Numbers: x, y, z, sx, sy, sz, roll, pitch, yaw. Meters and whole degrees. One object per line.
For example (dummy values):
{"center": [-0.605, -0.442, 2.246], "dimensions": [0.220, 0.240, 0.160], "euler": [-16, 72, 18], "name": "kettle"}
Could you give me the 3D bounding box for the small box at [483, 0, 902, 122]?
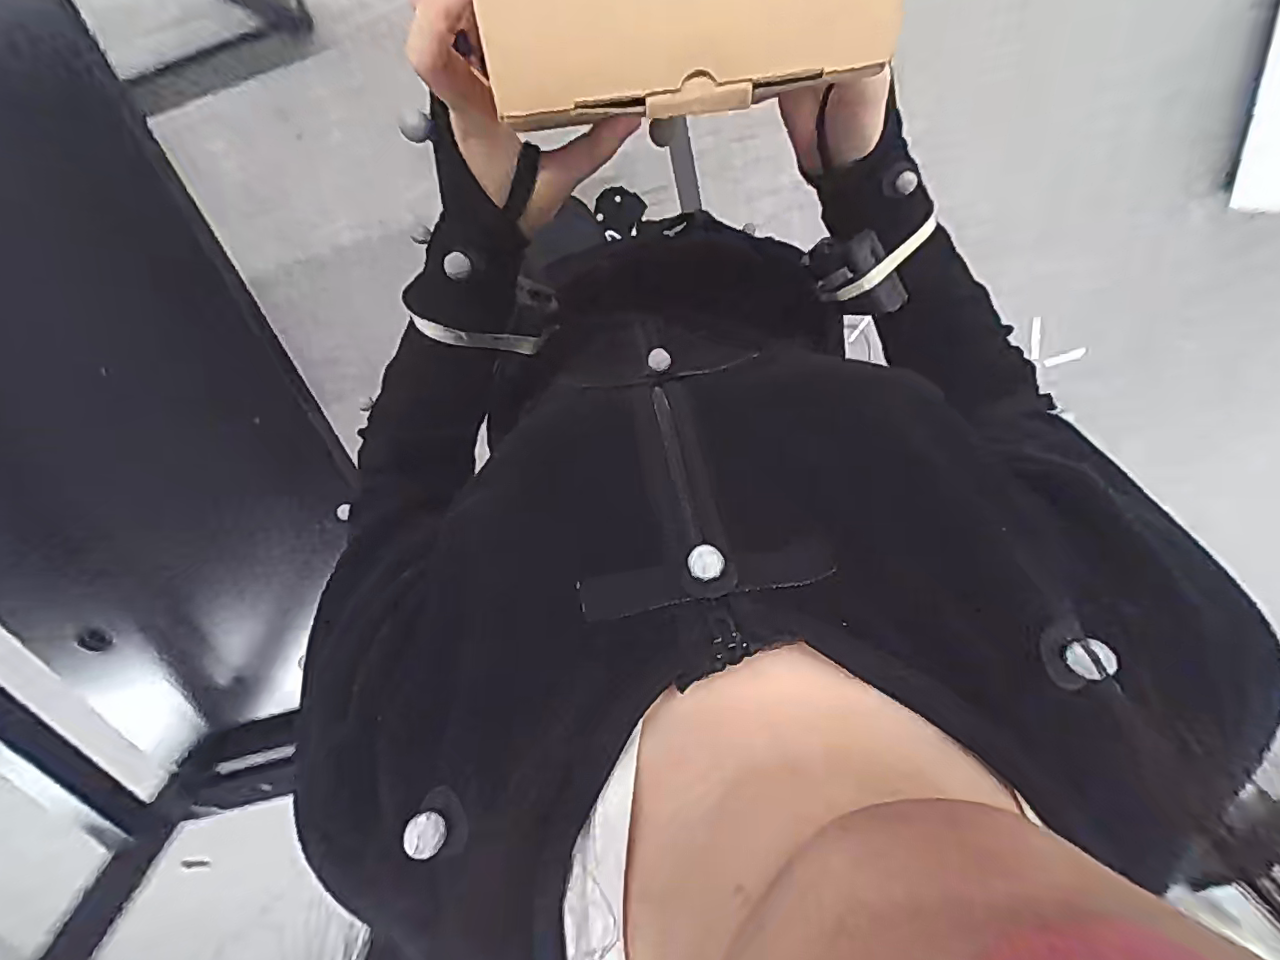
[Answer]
{"center": [0.008, -0.273, 0.242], "dimensions": [0.168, 0.176, 0.179], "euler": [-9, 123, -4], "name": "small box"}
